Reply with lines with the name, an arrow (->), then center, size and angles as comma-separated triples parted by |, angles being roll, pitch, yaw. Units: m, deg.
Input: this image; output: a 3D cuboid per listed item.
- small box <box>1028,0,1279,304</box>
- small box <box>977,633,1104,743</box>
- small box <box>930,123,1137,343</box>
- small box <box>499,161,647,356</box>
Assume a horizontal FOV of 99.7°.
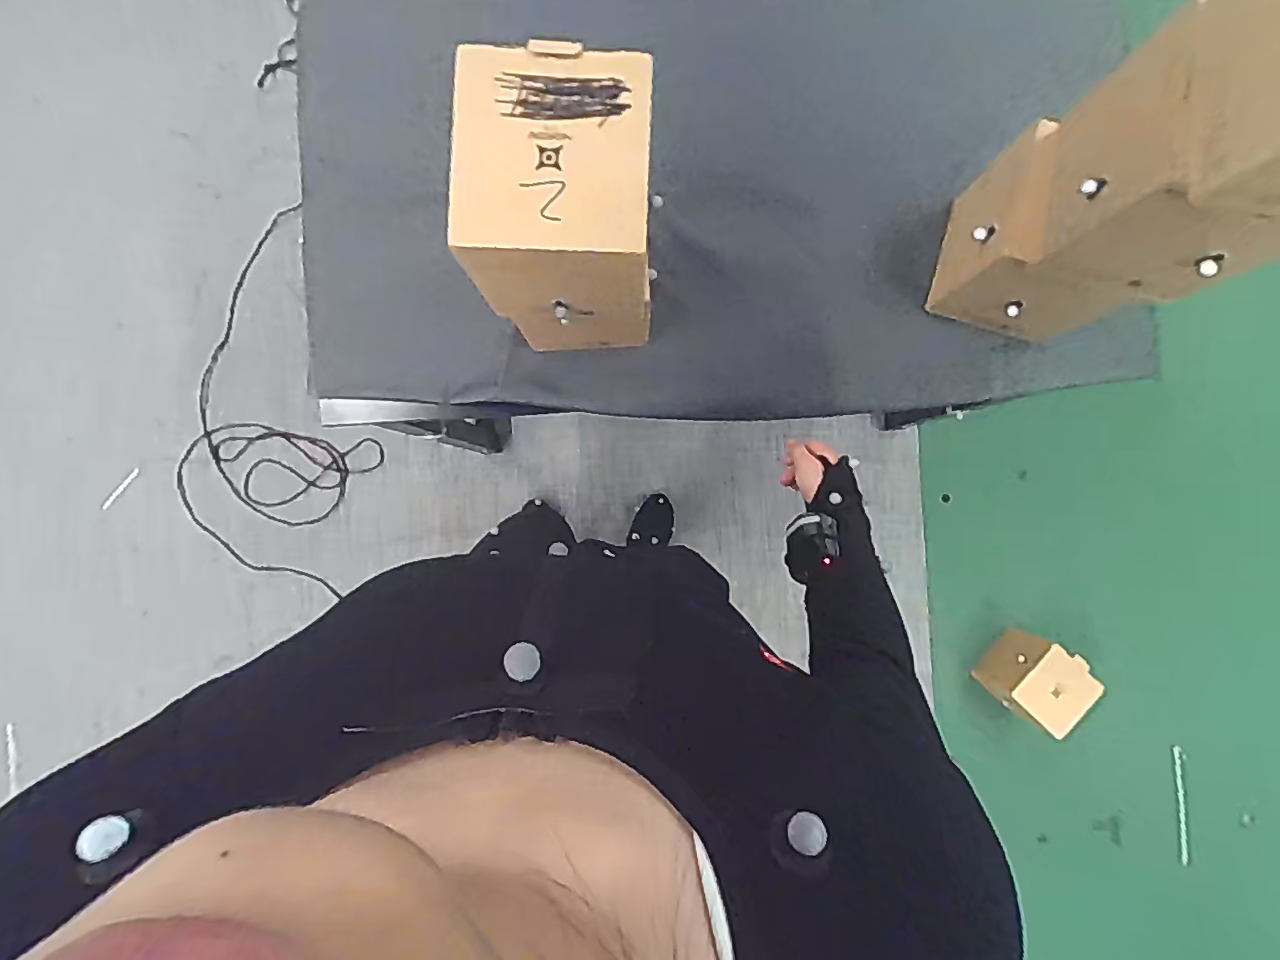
small box -> 0.523, -0.295, 0.526 | 0.168, 0.176, 0.179 | 13, 86, -1
small box -> 1.017, 0.527, 1.397 | 0.168, 0.176, 0.179 | 43, 88, 1
small box -> 0.503, -0.296, 0.688 | 0.168, 0.176, 0.179 | 17, 86, 0
small box -> -0.078, -0.271, 0.692 | 0.168, 0.176, 0.179 | -3, 87, 0
